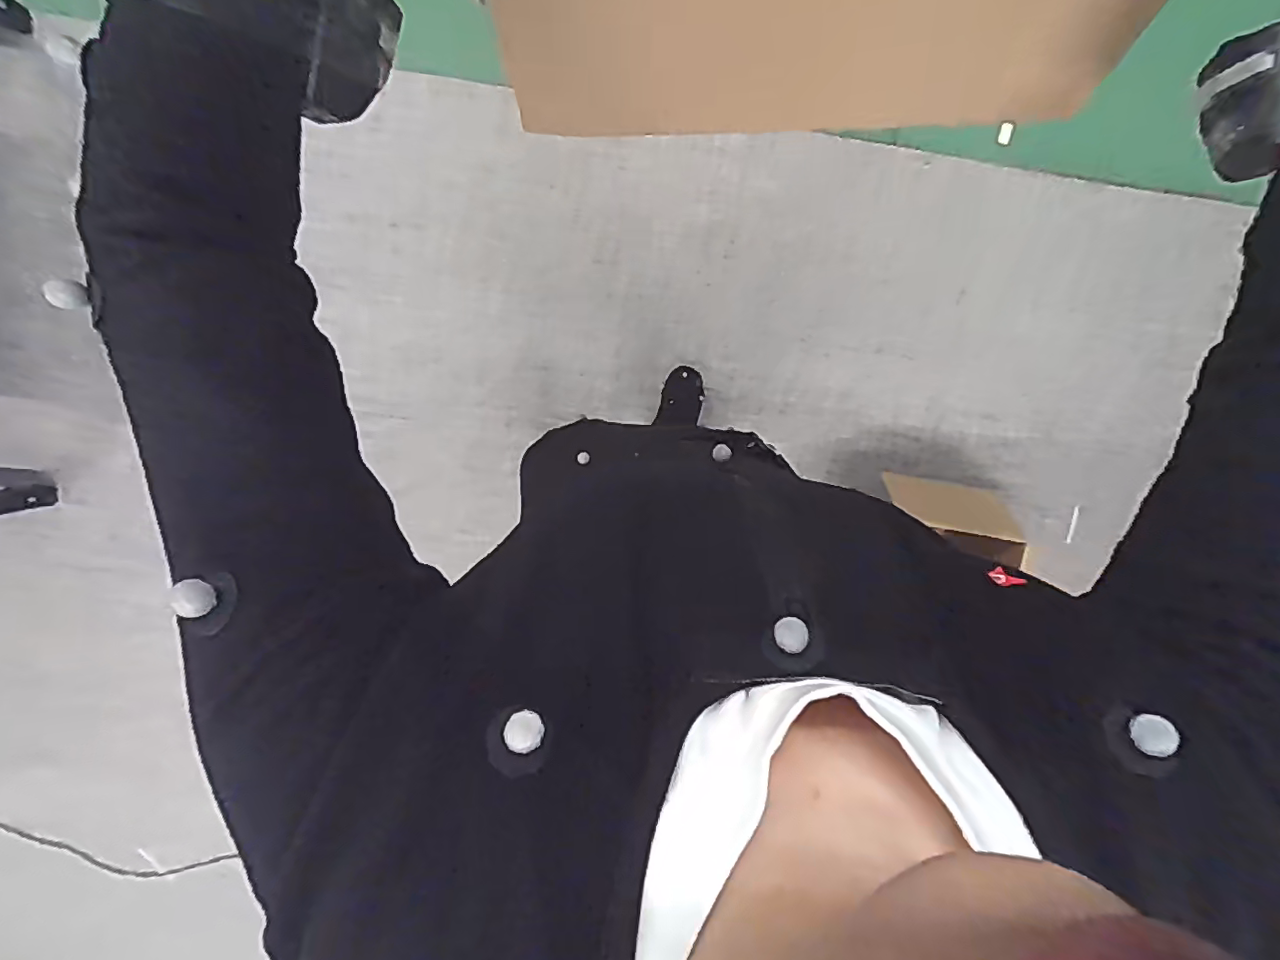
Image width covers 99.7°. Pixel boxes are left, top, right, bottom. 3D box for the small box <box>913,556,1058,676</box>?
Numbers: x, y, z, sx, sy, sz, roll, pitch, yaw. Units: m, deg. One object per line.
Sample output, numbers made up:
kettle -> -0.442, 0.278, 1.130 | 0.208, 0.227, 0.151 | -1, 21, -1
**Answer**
small box -> 0.683, 0.265, 1.092 | 0.168, 0.176, 0.179 | 10, 97, -2
